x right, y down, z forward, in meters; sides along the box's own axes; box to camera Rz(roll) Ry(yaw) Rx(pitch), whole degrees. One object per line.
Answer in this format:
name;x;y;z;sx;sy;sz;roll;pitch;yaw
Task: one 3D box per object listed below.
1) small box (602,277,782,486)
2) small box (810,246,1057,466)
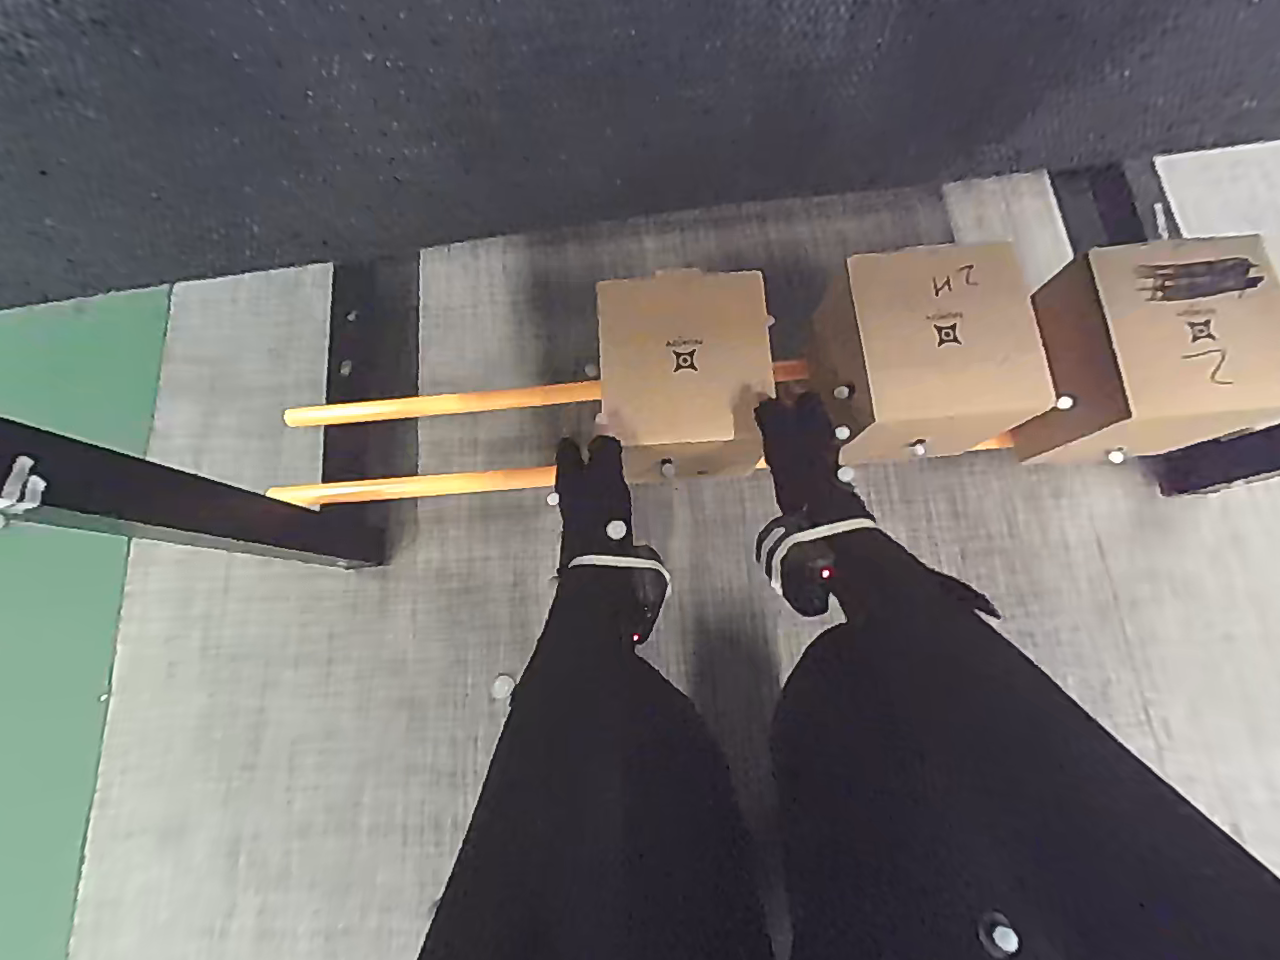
small box;0.050;-0.094;0.595;0.168;0.176;0.179;-4;76;1
small box;0.295;-0.119;0.588;0.168;0.176;0.179;-6;76;3
